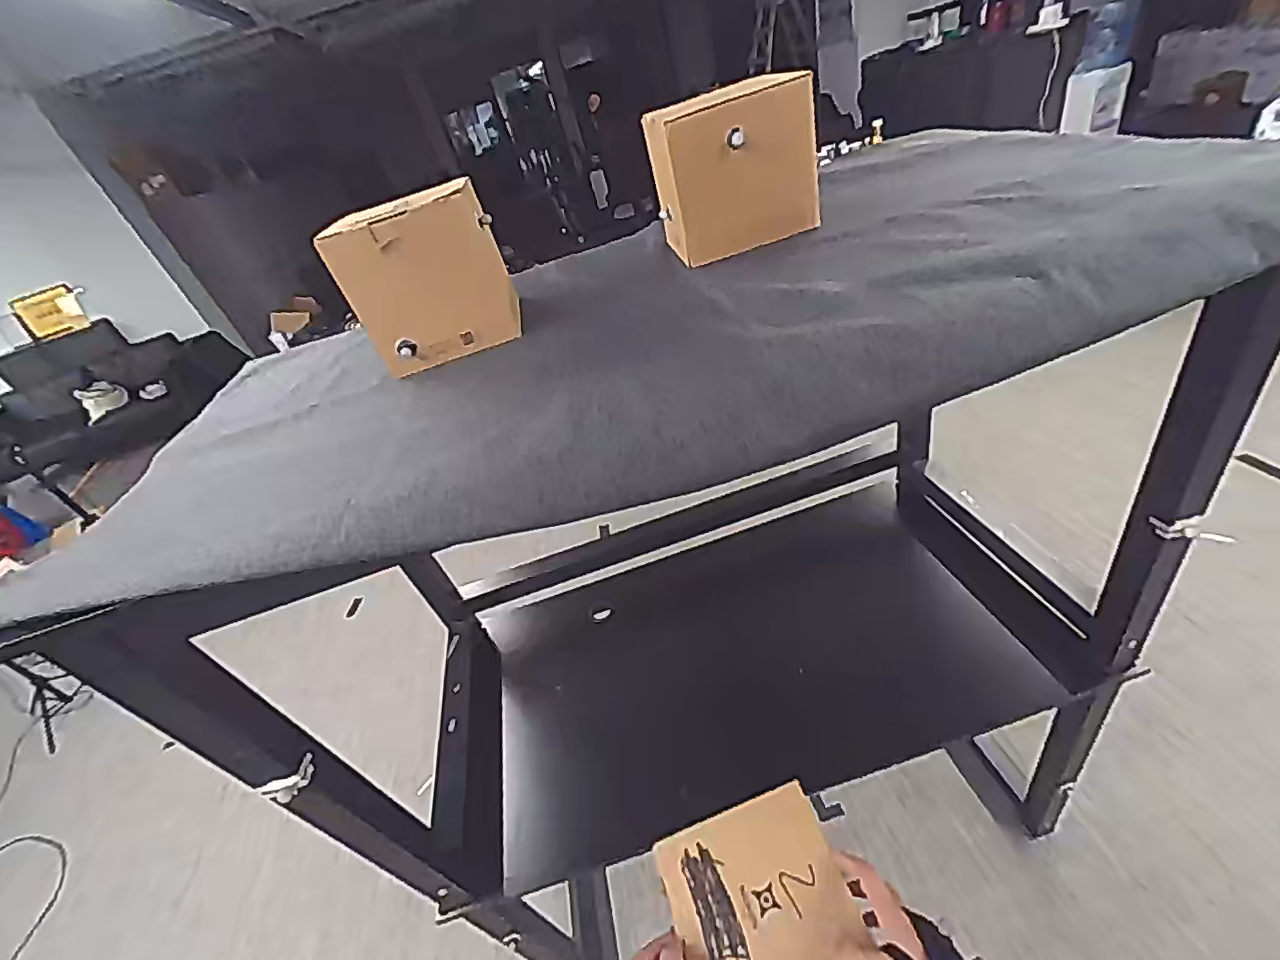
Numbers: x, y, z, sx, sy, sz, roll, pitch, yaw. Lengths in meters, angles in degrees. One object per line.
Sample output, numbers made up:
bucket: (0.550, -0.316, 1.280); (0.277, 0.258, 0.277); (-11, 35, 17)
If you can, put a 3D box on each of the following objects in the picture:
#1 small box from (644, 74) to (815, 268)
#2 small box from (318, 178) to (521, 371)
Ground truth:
small box: (0.118, -0.403, 0.708); (0.179, 0.176, 0.168); (-18, 36, 3)
small box: (-0.258, -0.256, 0.683); (0.168, 0.176, 0.179); (-19, 35, -1)
